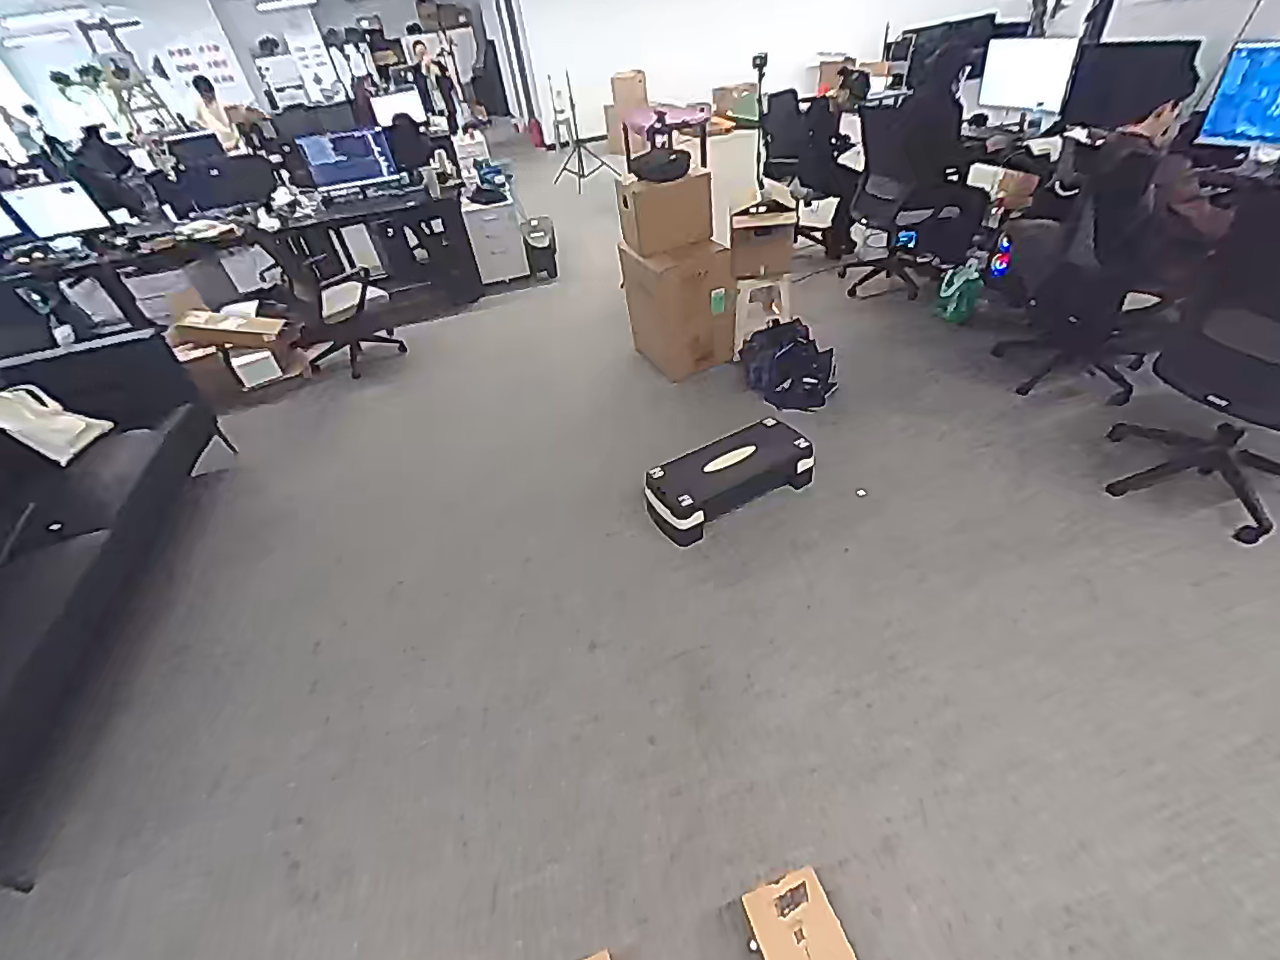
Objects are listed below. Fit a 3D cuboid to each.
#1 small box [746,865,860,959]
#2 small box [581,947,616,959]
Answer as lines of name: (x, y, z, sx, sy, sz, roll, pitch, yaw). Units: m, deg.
small box: (0.328, 0.943, 1.112, 0.168, 0.176, 0.179, -18, 41, -8)
small box: (-0.097, 1.071, 1.058, 0.168, 0.176, 0.179, -18, 39, -11)
